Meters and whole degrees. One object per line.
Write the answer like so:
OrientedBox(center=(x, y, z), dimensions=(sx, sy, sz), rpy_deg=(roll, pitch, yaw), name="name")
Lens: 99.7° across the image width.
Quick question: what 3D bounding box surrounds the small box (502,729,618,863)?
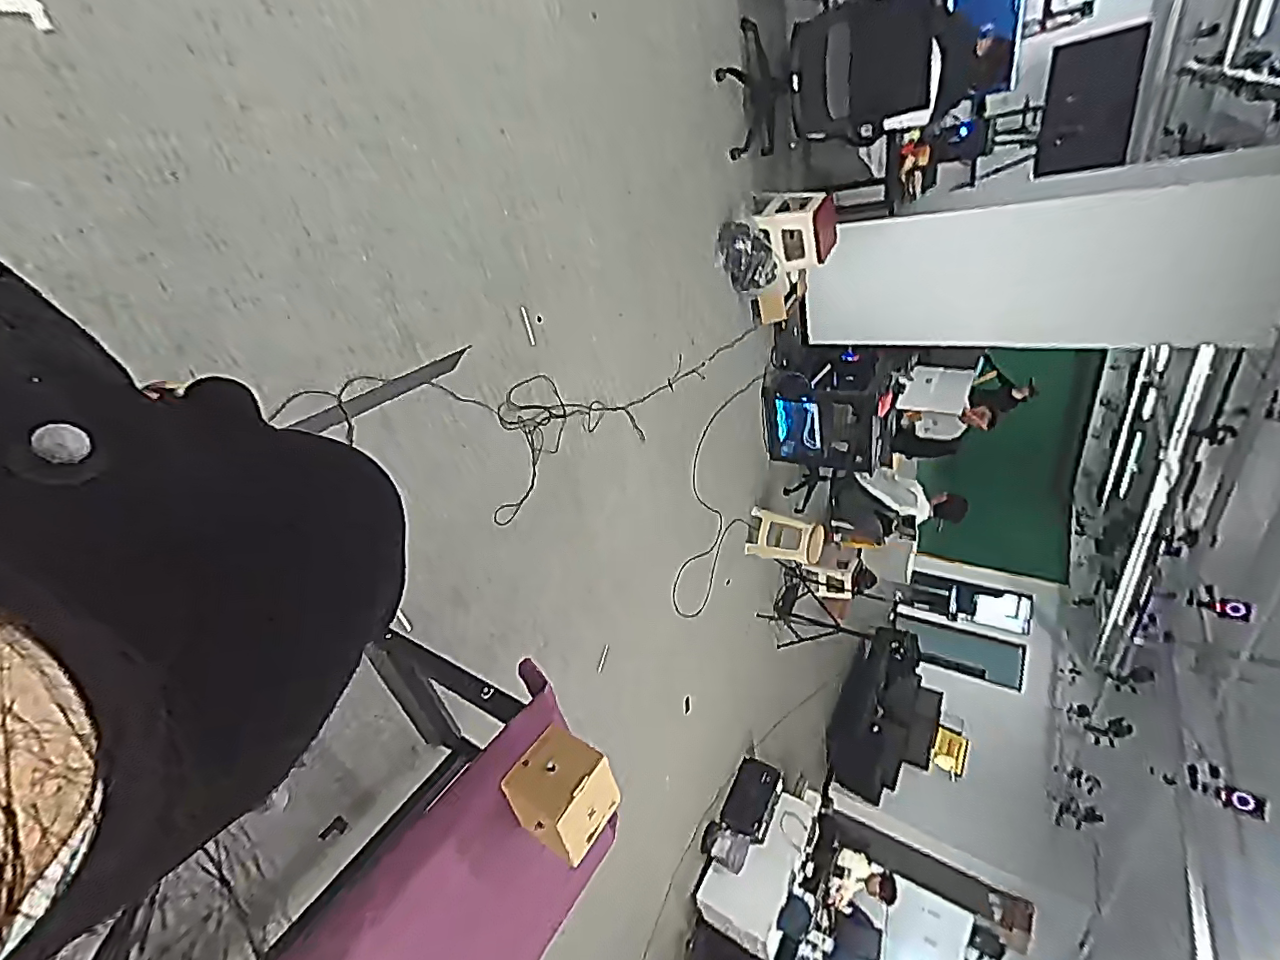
OrientedBox(center=(-0.177, 0.683, 1.192), dimensions=(0.168, 0.176, 0.179), rpy_deg=(-41, 130, -41), name="small box")
